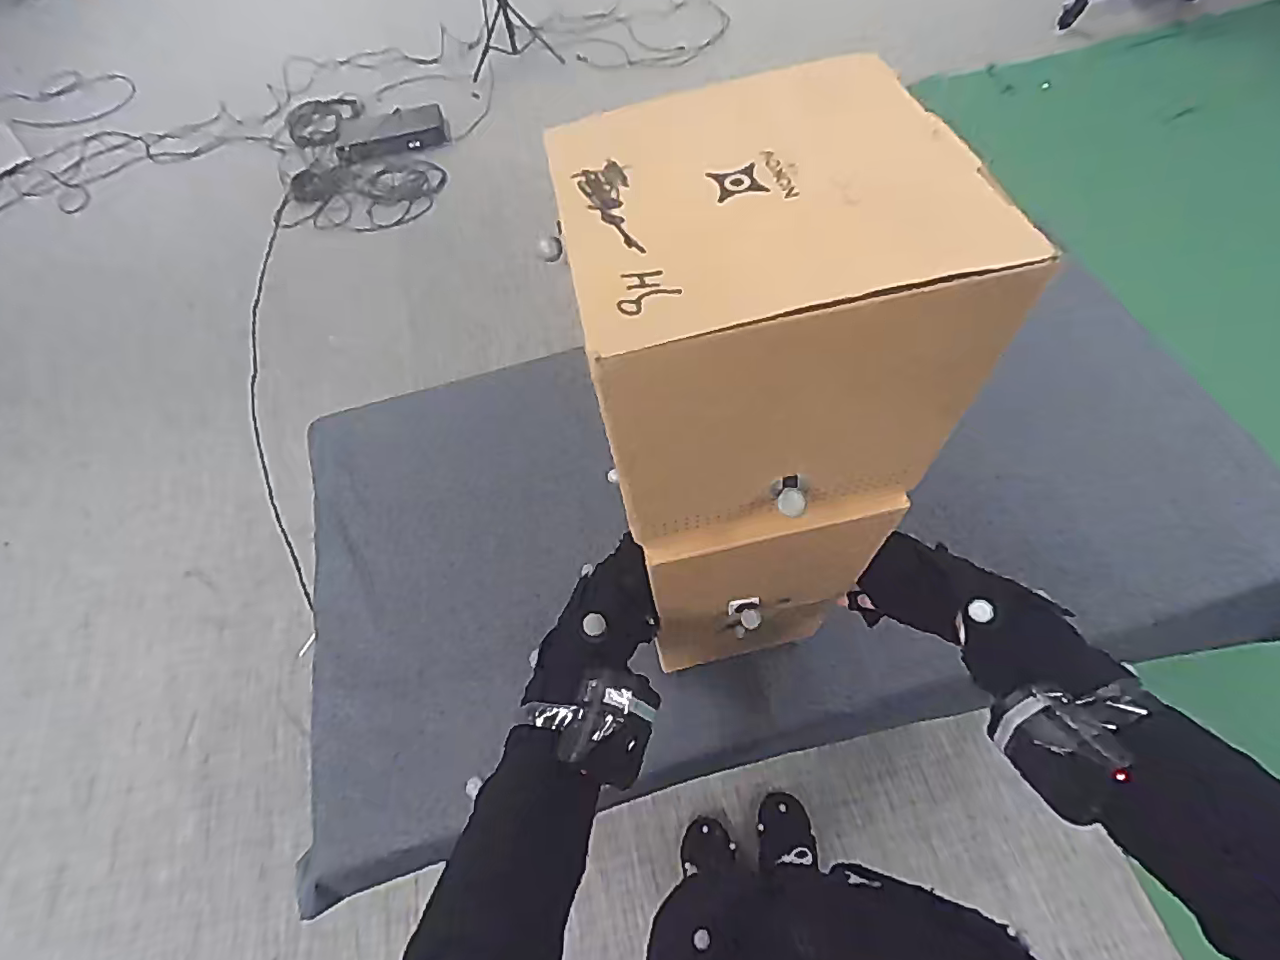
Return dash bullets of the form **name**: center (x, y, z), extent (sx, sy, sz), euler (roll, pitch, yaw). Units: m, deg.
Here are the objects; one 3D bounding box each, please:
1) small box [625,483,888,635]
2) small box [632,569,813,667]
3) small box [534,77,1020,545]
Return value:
- **small box**: center (0.067, 0.007, 0.441), extent (0.168, 0.176, 0.179), euler (-11, 59, 0)
- **small box**: center (0.081, 0.087, 0.581), extent (0.179, 0.176, 0.168), euler (-12, 58, -2)
- **small box**: center (0.050, -0.082, 0.305), extent (0.179, 0.176, 0.168), euler (-12, 58, 0)
